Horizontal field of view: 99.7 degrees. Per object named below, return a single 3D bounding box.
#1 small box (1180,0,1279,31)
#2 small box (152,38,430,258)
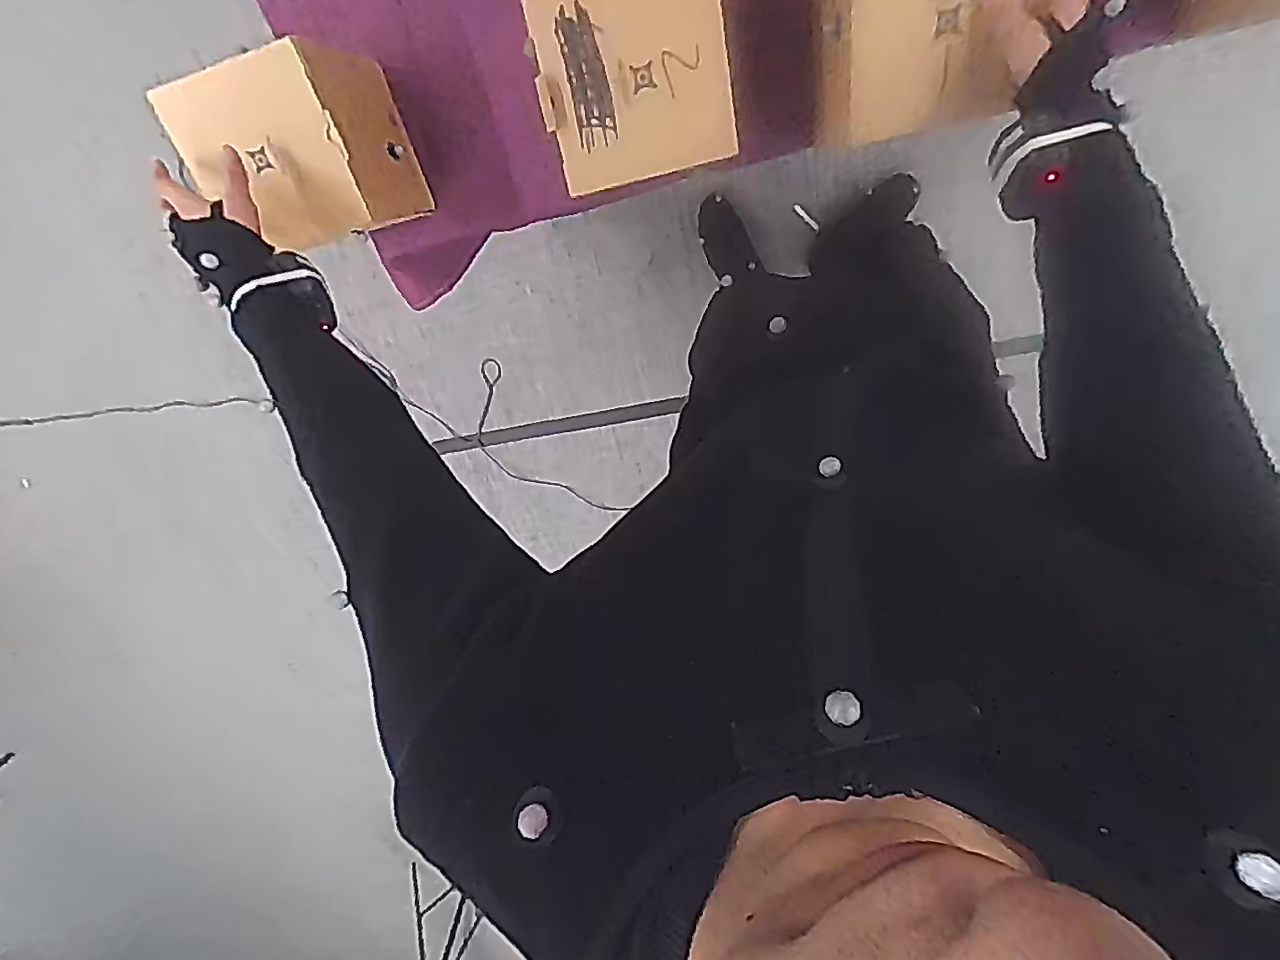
[{"bbox_3d":[0.614,-0.521,0.449,0.168,0.176,0.179,-11,119,12],"label":"small box"},{"bbox_3d":[-0.382,-0.373,0.630,0.179,0.176,0.168,-11,119,10],"label":"small box"}]
